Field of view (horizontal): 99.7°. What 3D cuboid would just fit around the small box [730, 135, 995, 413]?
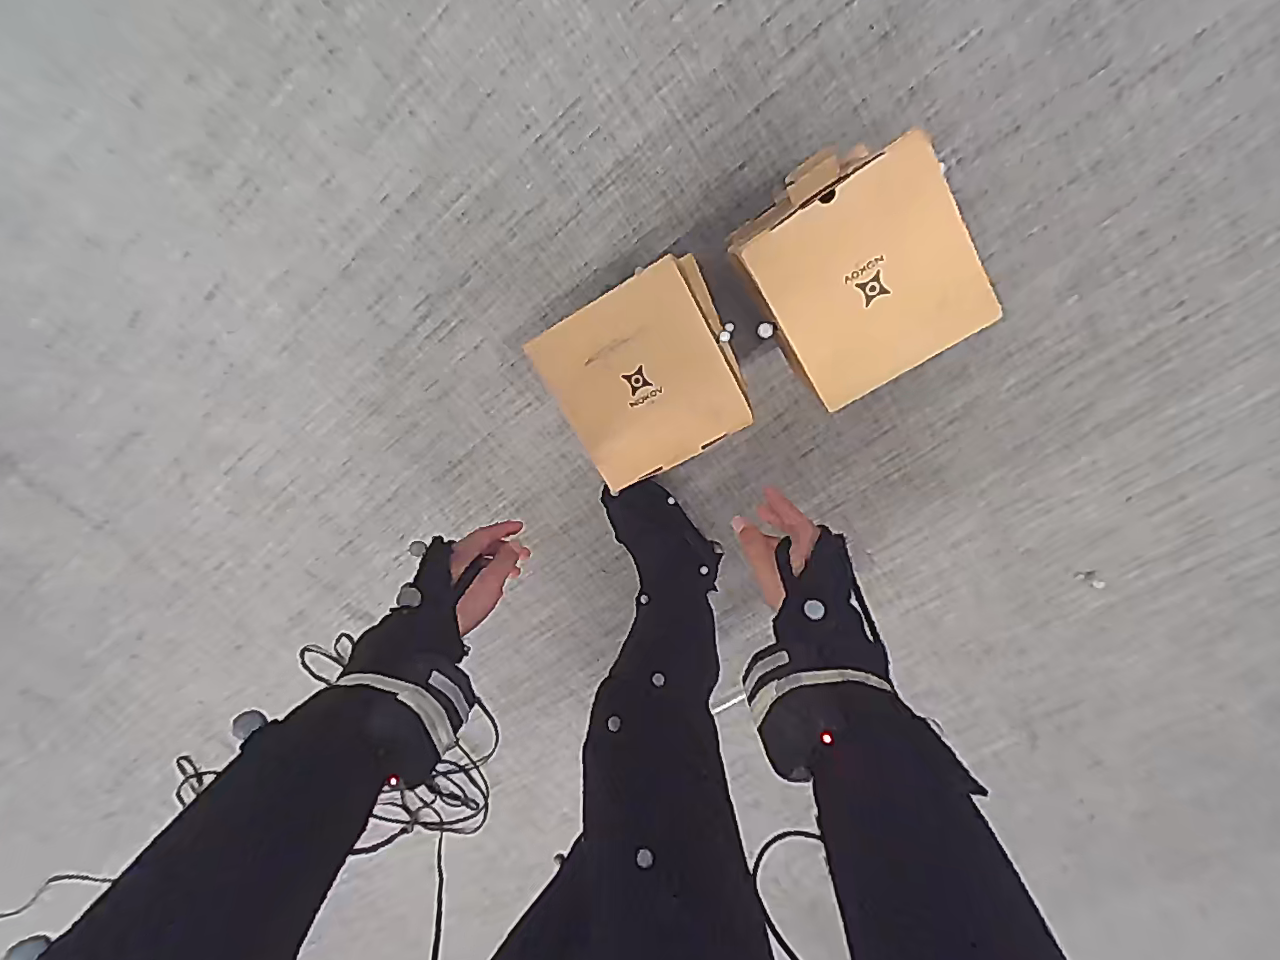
[{"bbox_3d":[0.206,-0.199,0.544,0.168,0.176,0.179,-31,106,16],"label":"small box"}]

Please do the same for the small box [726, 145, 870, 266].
[{"bbox_3d":[0.221,-0.277,0.688,0.168,0.176,0.179,-31,105,15],"label":"small box"}]

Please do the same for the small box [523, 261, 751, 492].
[{"bbox_3d":[0.005,-0.120,0.595,0.168,0.176,0.179,-27,106,14],"label":"small box"}]
